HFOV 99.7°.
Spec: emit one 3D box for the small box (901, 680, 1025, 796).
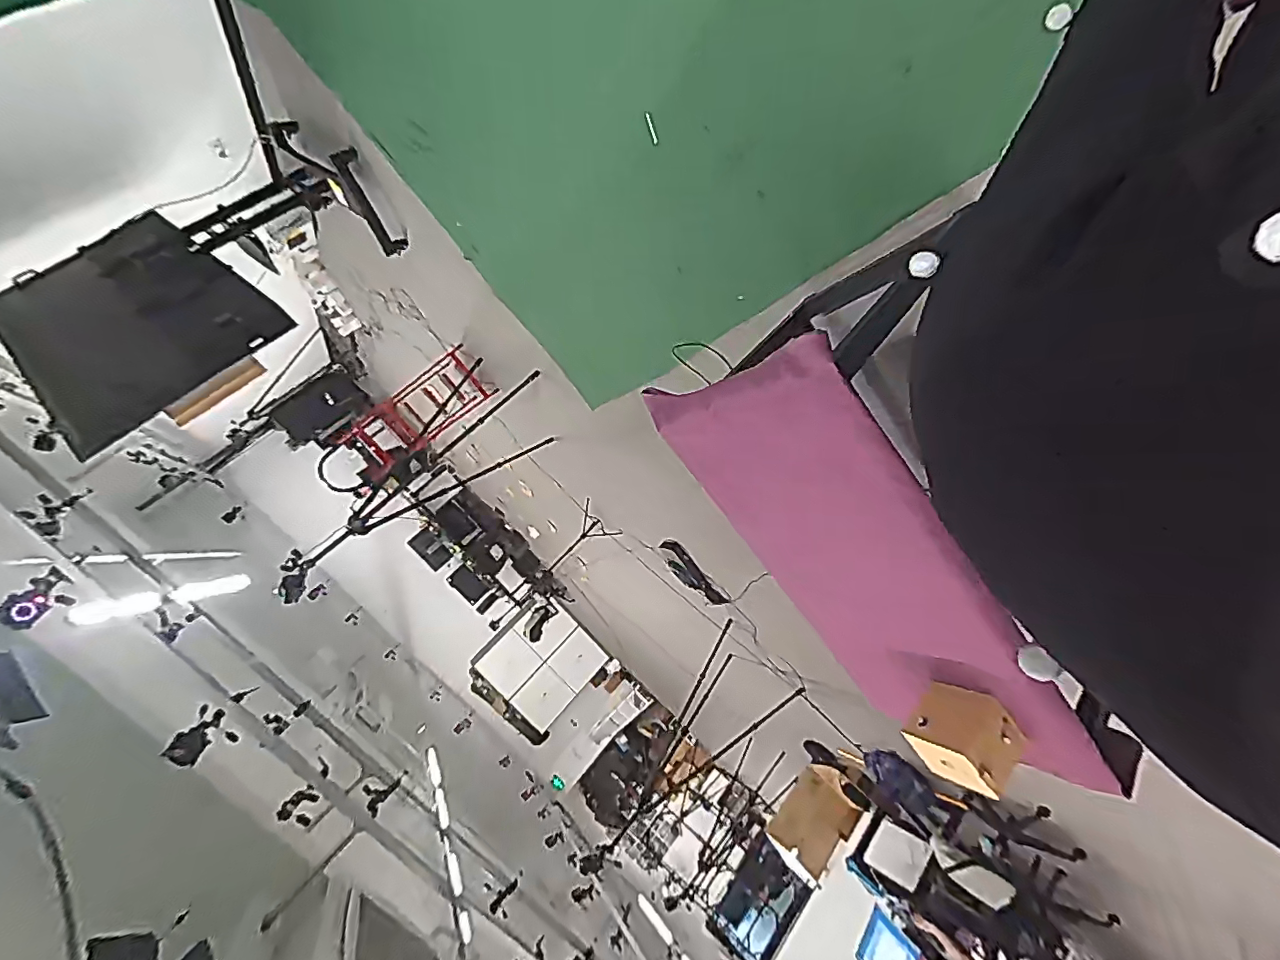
[{"bbox_3d":[0.796,0.624,1.333,0.168,0.176,0.179,50,157,-12],"label":"small box"}]
